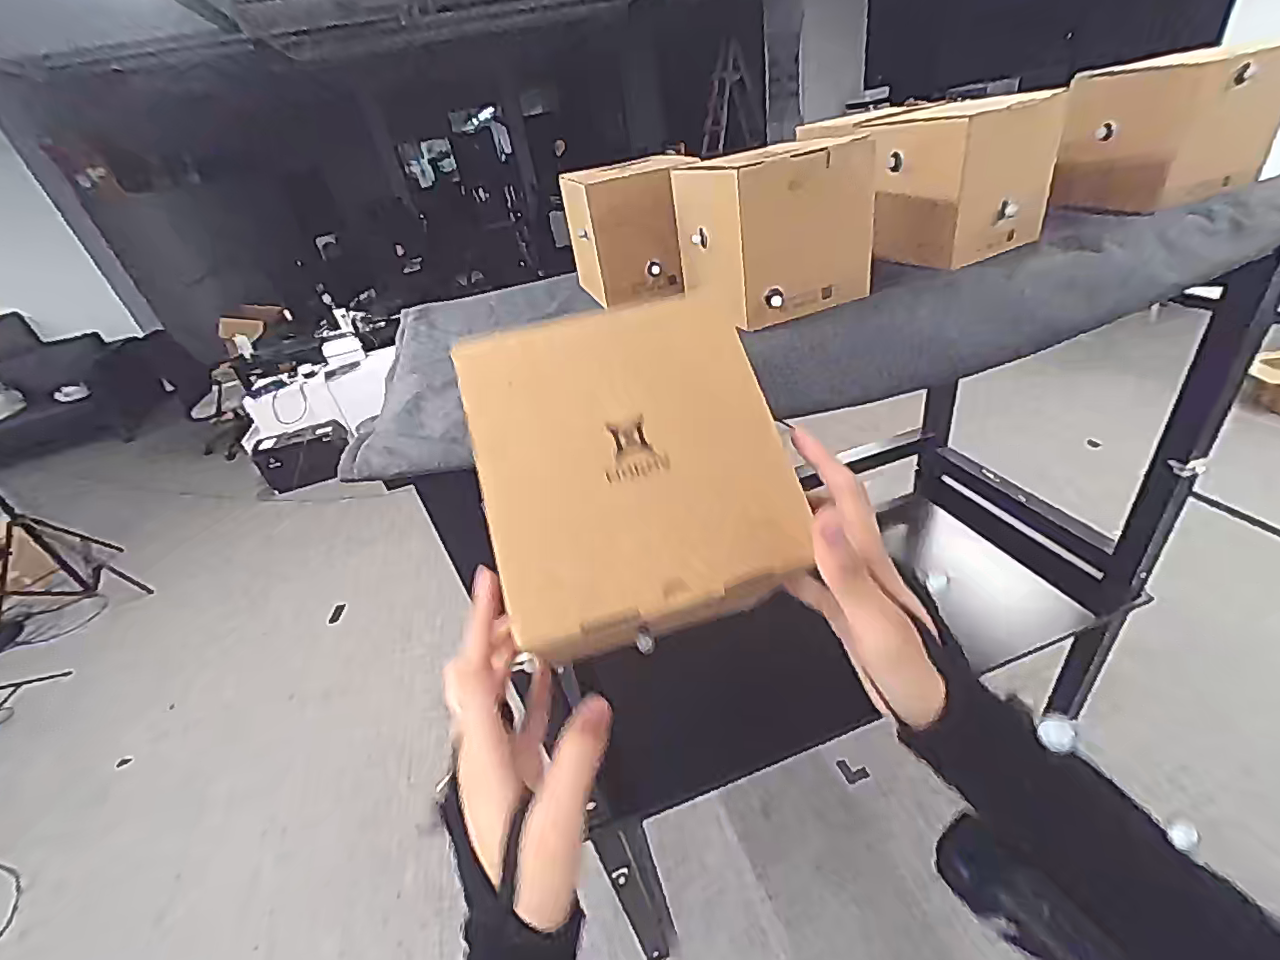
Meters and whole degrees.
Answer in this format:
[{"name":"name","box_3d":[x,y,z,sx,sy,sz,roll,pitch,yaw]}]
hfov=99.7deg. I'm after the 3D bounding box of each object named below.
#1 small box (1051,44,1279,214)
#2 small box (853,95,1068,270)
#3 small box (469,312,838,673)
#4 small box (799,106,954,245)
[{"name":"small box","box_3d":[0.728,-0.480,0.755,0.168,0.176,0.179,-16,33,-6]},{"name":"small box","box_3d":[0.406,-0.389,0.719,0.168,0.176,0.179,-23,35,-16]},{"name":"small box","box_3d":[-0.004,0.021,0.368,0.168,0.176,0.179,-15,72,-9]},{"name":"small box","box_3d":[0.380,-0.507,0.903,0.179,0.176,0.168,-17,33,-8]}]
